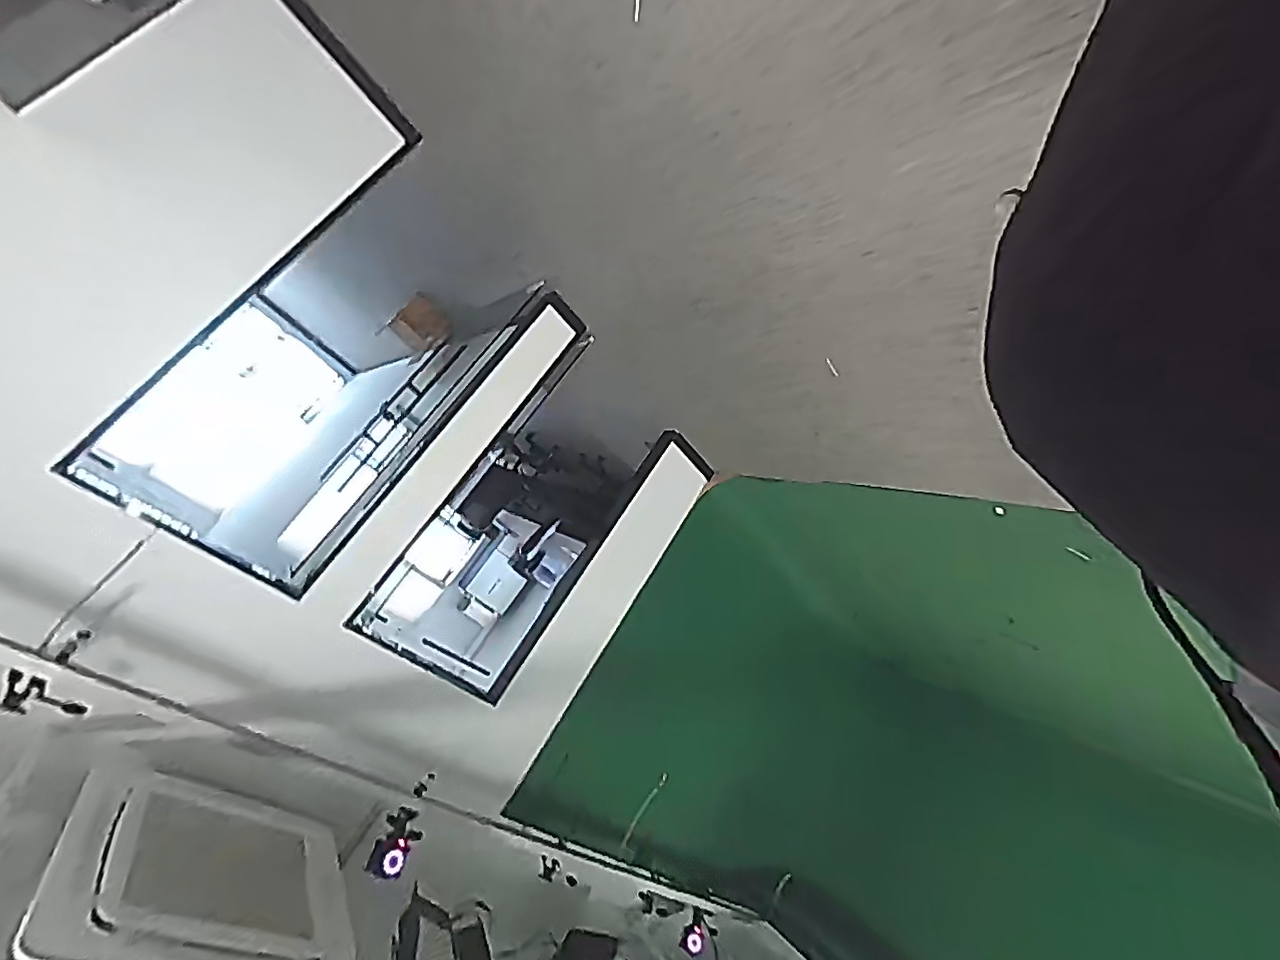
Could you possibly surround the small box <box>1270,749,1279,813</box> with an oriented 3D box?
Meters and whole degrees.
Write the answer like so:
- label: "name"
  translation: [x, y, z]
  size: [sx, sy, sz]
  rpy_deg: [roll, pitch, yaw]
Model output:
- label: "small box"
  translation: [1.553, 0.681, 1.196]
  size: [0.179, 0.176, 0.168]
  rpy_deg: [13, 152, 48]
